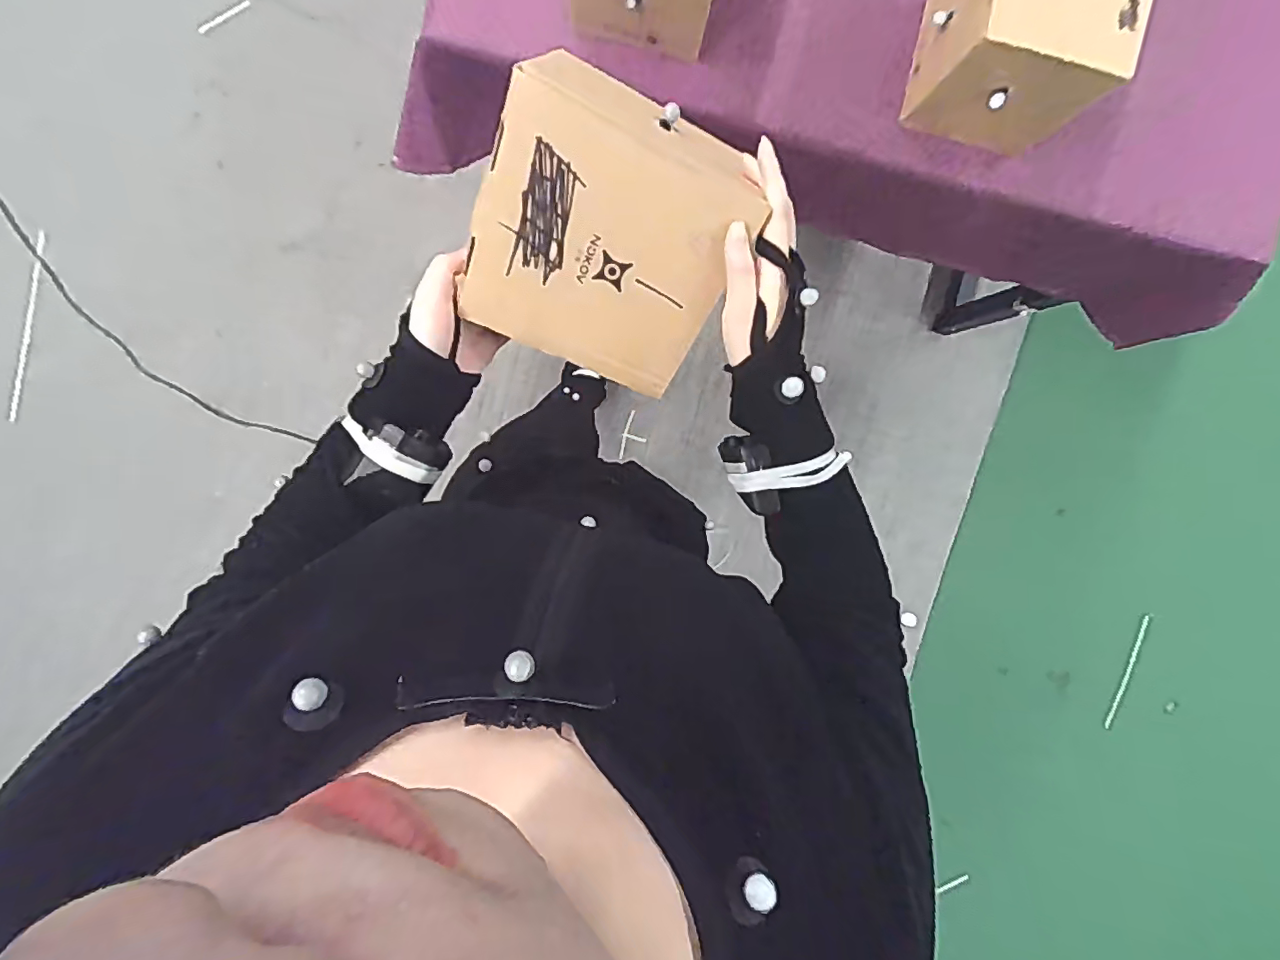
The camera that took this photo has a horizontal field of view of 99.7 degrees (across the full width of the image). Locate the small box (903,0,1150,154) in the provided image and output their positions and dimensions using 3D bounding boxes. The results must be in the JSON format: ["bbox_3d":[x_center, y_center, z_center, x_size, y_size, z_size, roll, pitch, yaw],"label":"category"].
[{"bbox_3d":[0.449,-0.526,0.645,0.179,0.176,0.168,12,95,-4],"label":"small box"}]

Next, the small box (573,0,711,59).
[{"bbox_3d":[0.016,-0.631,0.609,0.168,0.176,0.179,13,94,-5],"label":"small box"}]
